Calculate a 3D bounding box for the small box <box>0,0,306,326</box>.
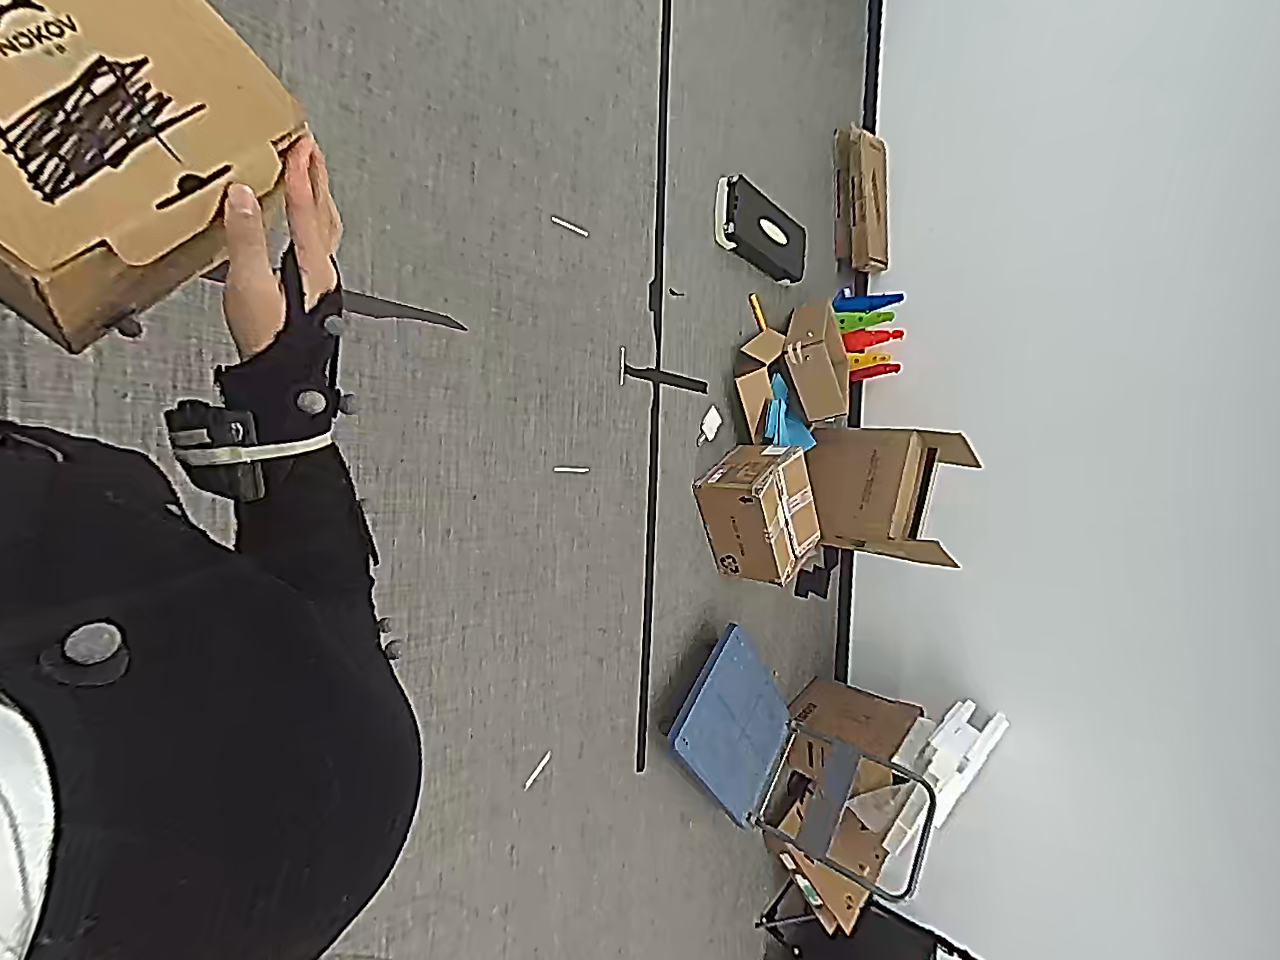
[{"bbox_3d":[-0.339,-0.208,0.305,0.179,0.176,0.168,50,57,-29],"label":"small box"}]
